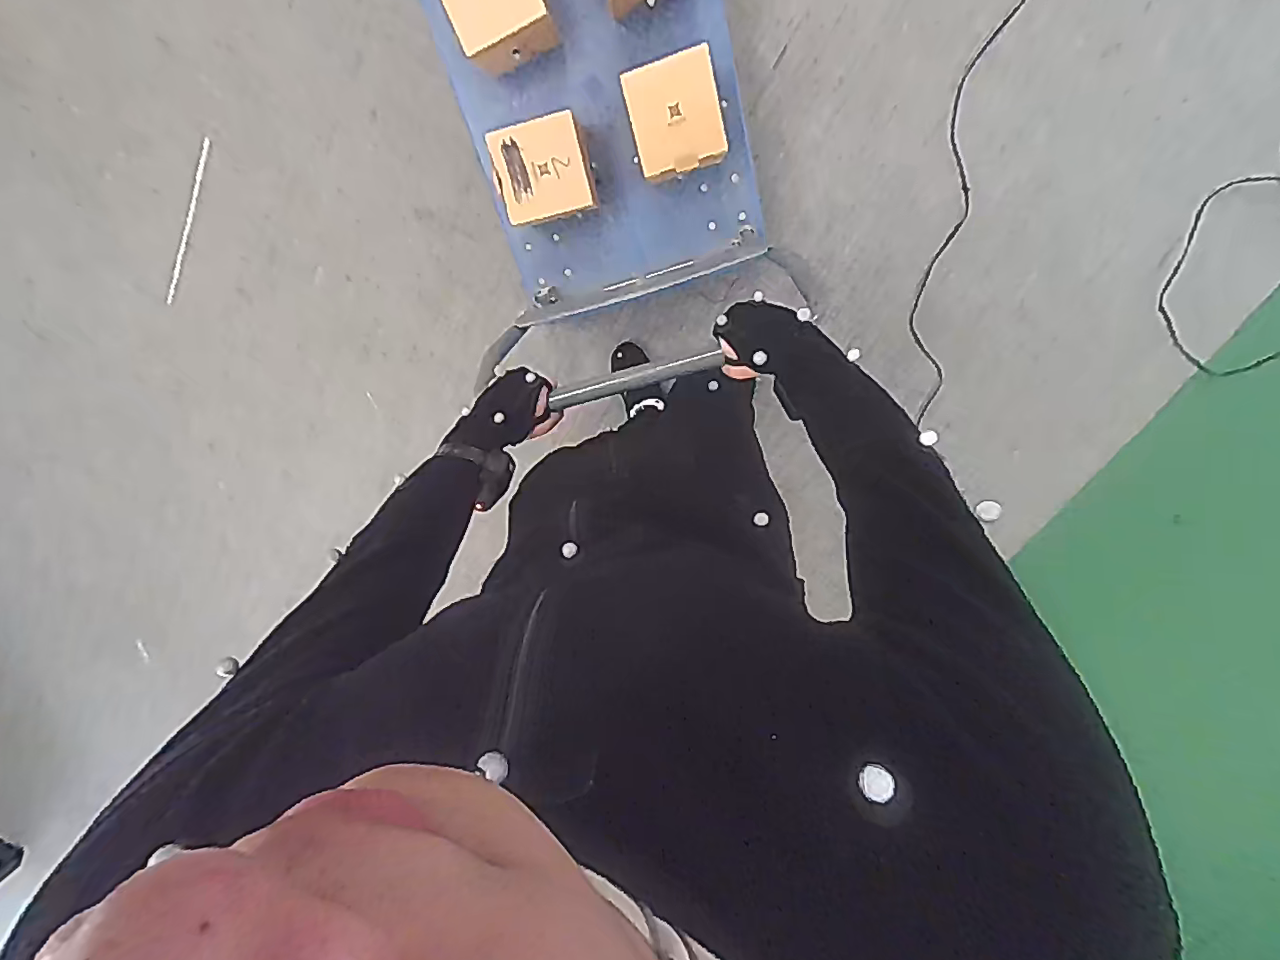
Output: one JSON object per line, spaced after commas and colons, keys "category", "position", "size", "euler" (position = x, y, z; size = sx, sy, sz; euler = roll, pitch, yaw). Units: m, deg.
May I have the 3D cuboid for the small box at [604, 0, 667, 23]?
{"category": "small box", "position": [-0.011, -0.963, 0.950], "size": [0.168, 0.176, 0.179], "euler": [-18, 114, 12]}

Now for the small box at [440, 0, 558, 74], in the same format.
{"category": "small box", "position": [-0.266, -0.887, 0.998], "size": [0.168, 0.176, 0.179], "euler": [-19, 114, 10]}

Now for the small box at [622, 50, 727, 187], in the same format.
{"category": "small box", "position": [0.068, -0.704, 1.075], "size": [0.168, 0.176, 0.179], "euler": [-14, 115, 9]}
